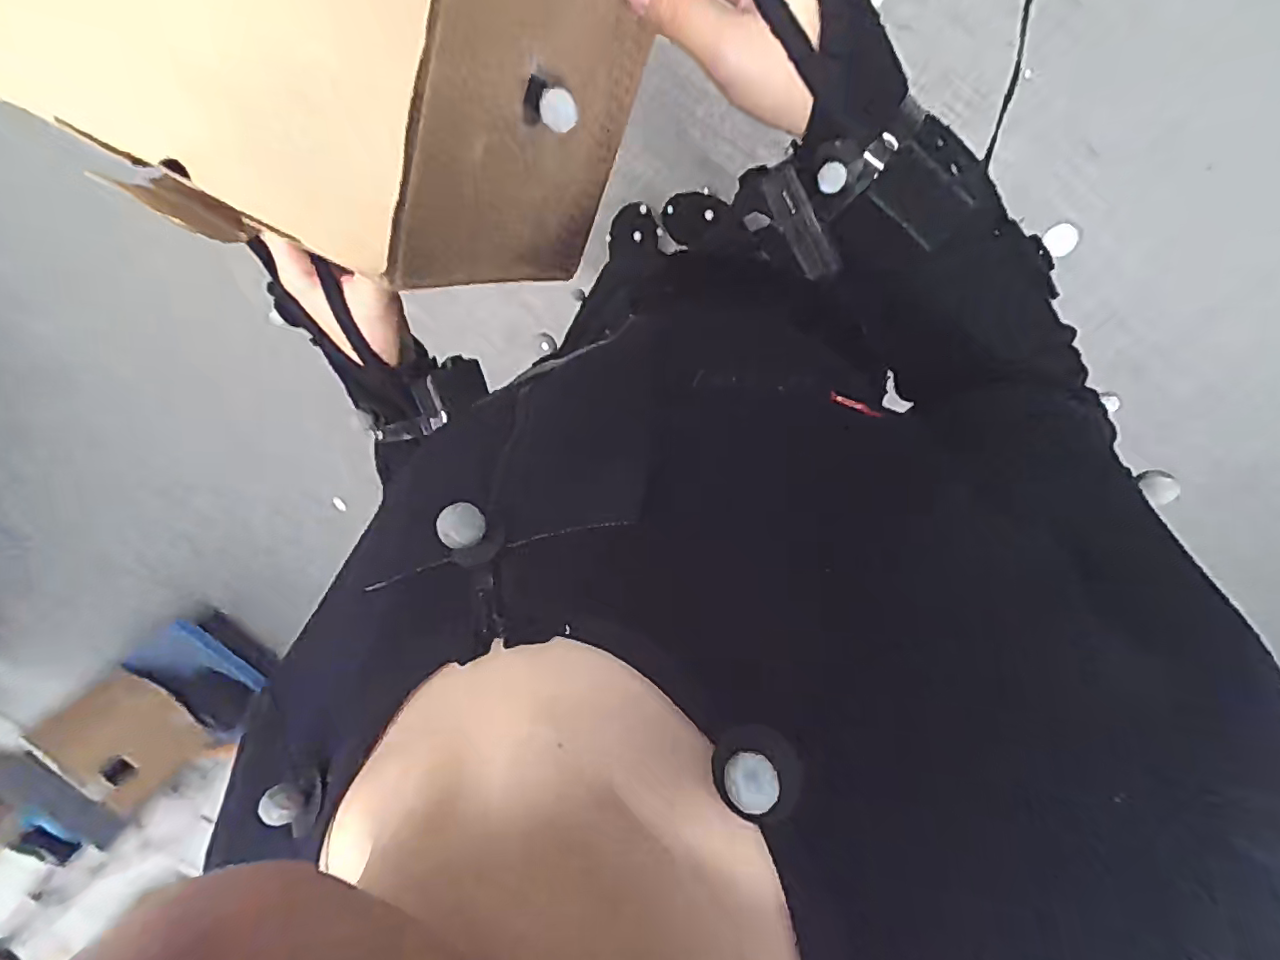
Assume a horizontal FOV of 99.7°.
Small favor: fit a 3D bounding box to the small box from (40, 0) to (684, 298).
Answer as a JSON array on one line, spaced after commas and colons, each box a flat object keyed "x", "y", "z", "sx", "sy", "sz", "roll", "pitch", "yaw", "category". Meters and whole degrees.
[{"x": -0.092, "y": -0.199, "z": 0.230, "sx": 0.168, "sy": 0.176, "sz": 0.179, "roll": 27, "pitch": 116, "yaw": 3, "category": "small box"}]
